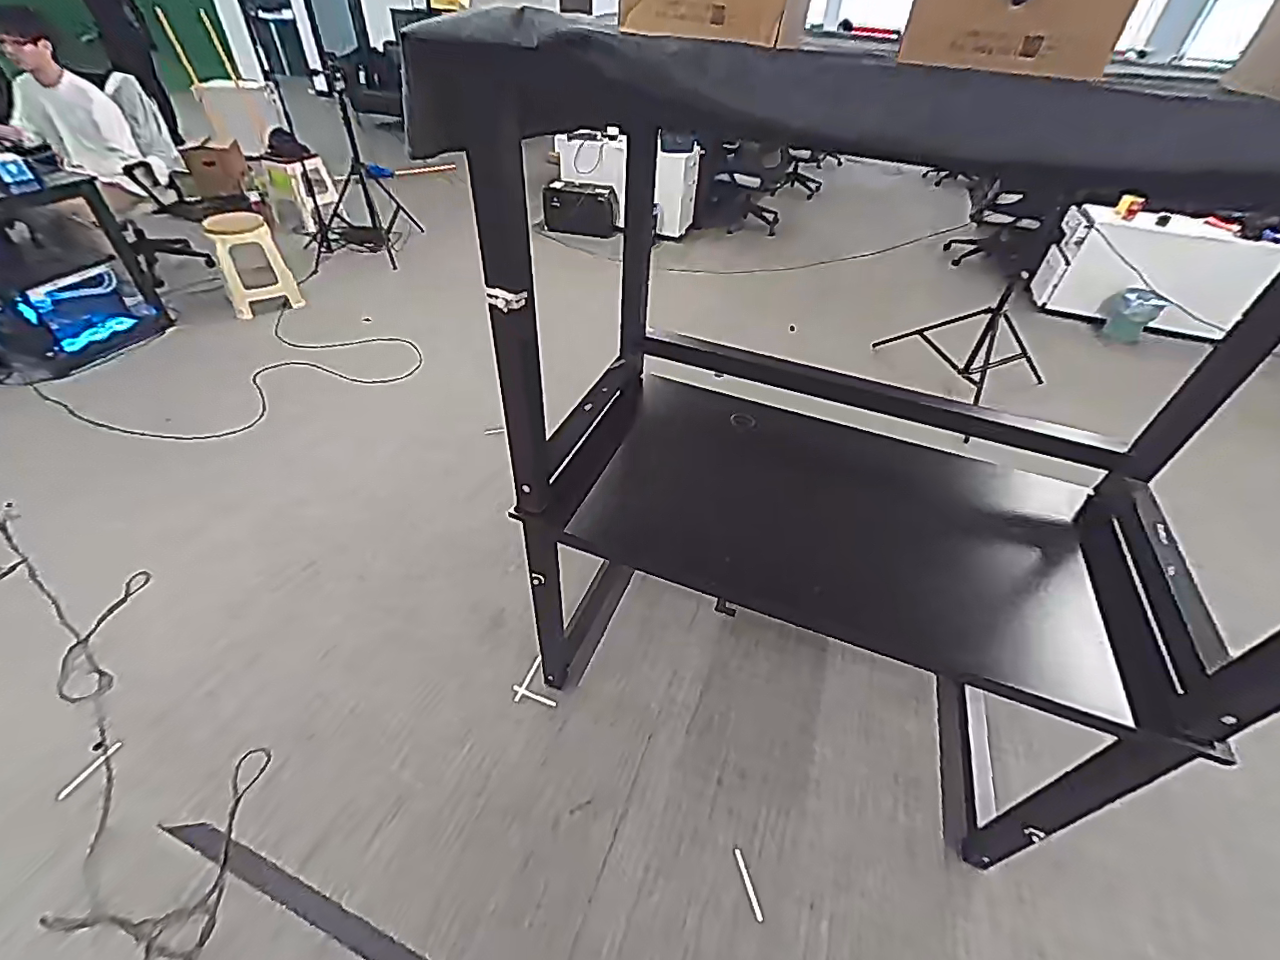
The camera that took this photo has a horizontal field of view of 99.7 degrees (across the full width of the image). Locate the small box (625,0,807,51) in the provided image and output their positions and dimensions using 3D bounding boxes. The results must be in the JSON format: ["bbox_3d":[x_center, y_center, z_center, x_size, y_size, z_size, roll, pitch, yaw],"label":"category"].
[{"bbox_3d":[0.089,-0.549,0.541,0.168,0.176,0.179,17,43,12],"label":"small box"}]

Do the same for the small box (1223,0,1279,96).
[{"bbox_3d":[0.624,-0.391,0.412,0.168,0.176,0.179,20,43,17],"label":"small box"}]

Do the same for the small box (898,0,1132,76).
[{"bbox_3d":[0.344,-0.474,0.478,0.168,0.176,0.179,17,42,15],"label":"small box"}]
